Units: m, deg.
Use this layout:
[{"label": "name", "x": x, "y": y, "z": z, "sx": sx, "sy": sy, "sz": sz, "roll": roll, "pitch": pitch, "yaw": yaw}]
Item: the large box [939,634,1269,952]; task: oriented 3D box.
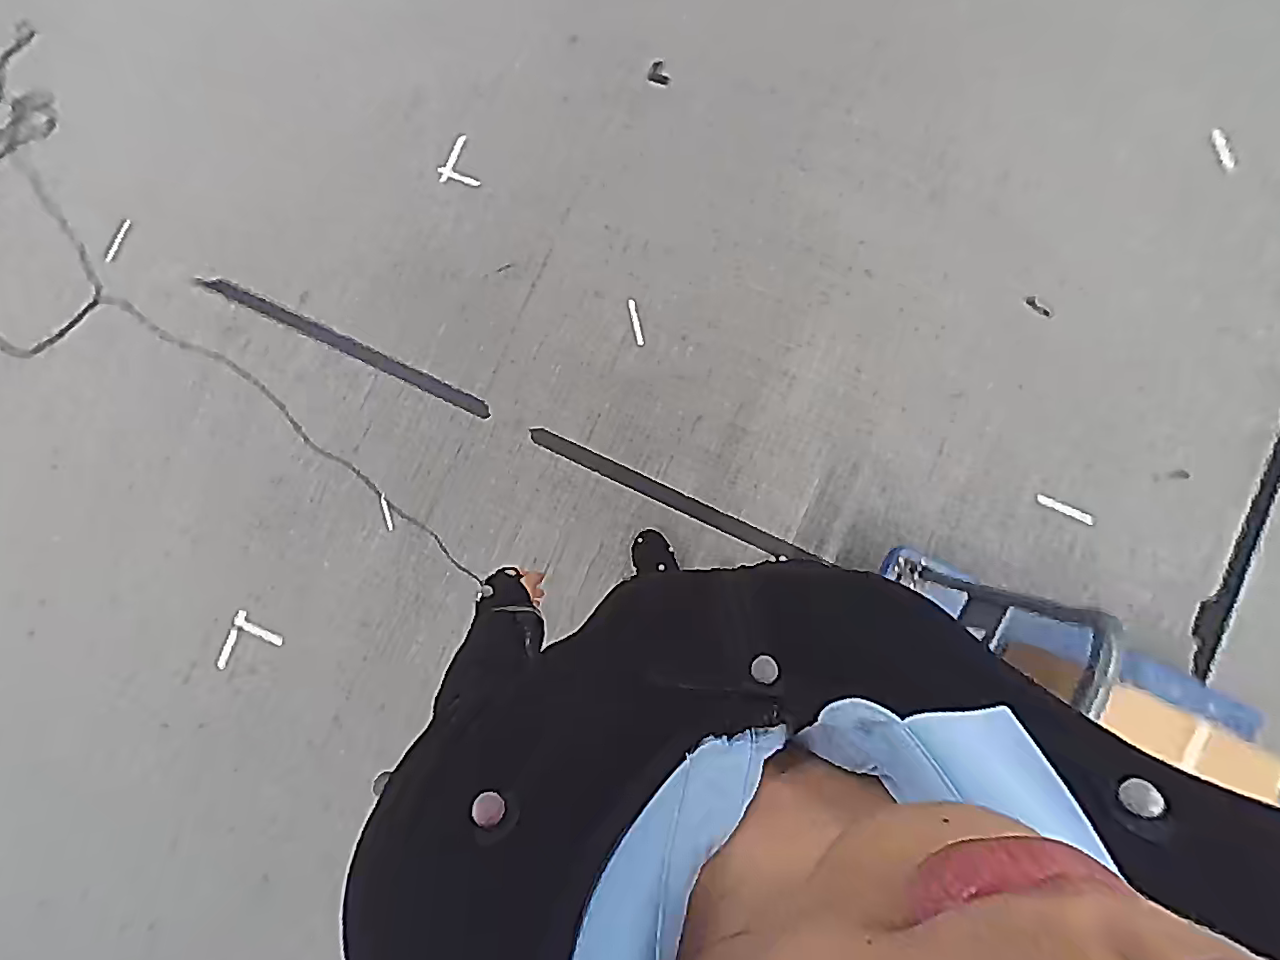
[{"label": "large box", "x": 0.898, "y": 0.589, "z": 1.104, "sx": 0.320, "sy": 0.320, "sz": 0.408, "roll": 26, "pitch": 88, "yaw": 4}]
